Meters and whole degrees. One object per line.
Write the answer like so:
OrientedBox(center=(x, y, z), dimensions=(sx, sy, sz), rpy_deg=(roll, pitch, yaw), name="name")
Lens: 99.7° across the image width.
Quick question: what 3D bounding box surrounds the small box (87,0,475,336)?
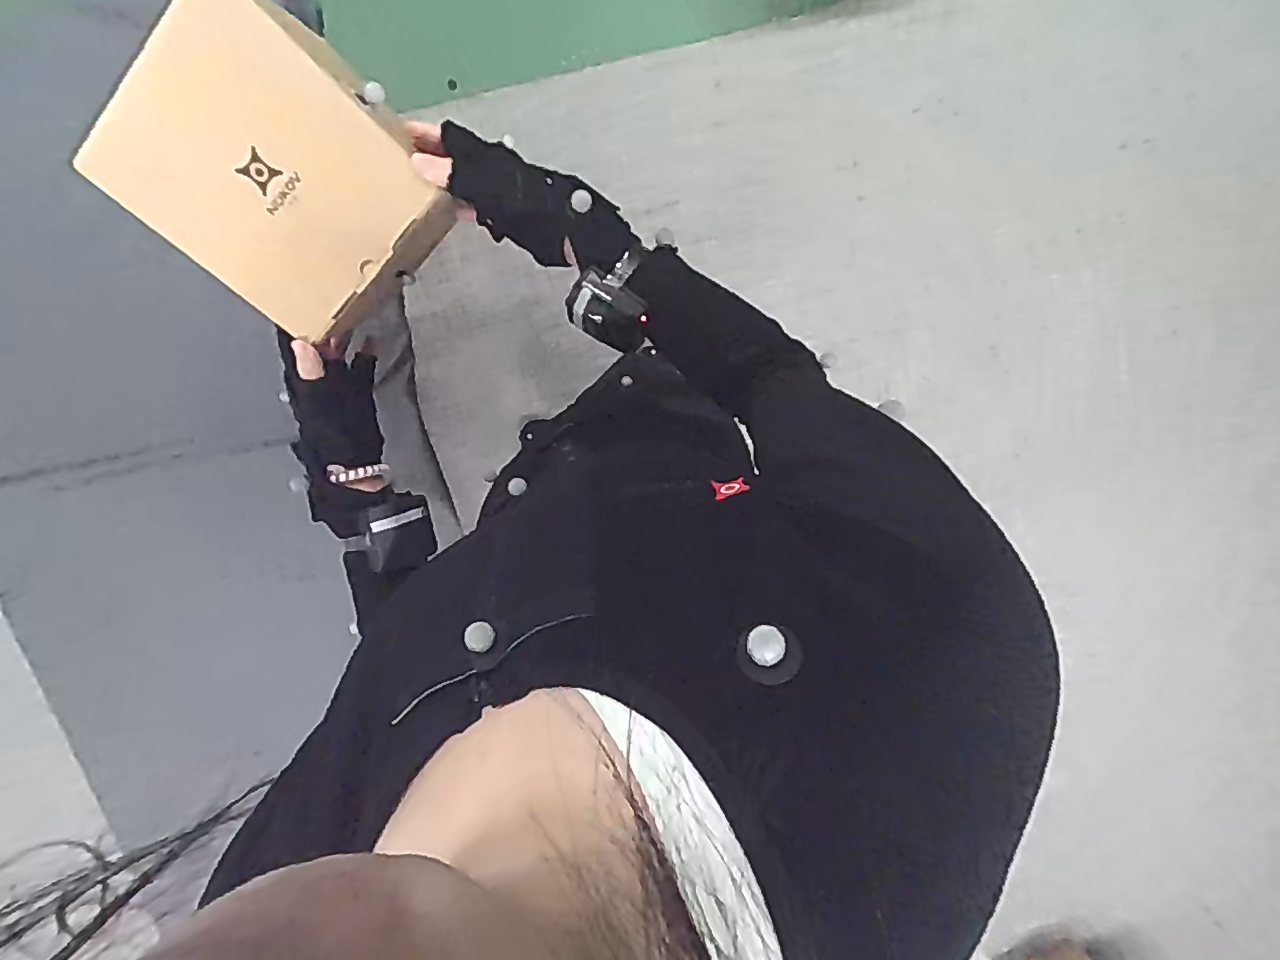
OrientedBox(center=(-0.261, -0.250, 0.445), dimensions=(0.168, 0.176, 0.179), rpy_deg=(-42, 116, 11), name="small box")
